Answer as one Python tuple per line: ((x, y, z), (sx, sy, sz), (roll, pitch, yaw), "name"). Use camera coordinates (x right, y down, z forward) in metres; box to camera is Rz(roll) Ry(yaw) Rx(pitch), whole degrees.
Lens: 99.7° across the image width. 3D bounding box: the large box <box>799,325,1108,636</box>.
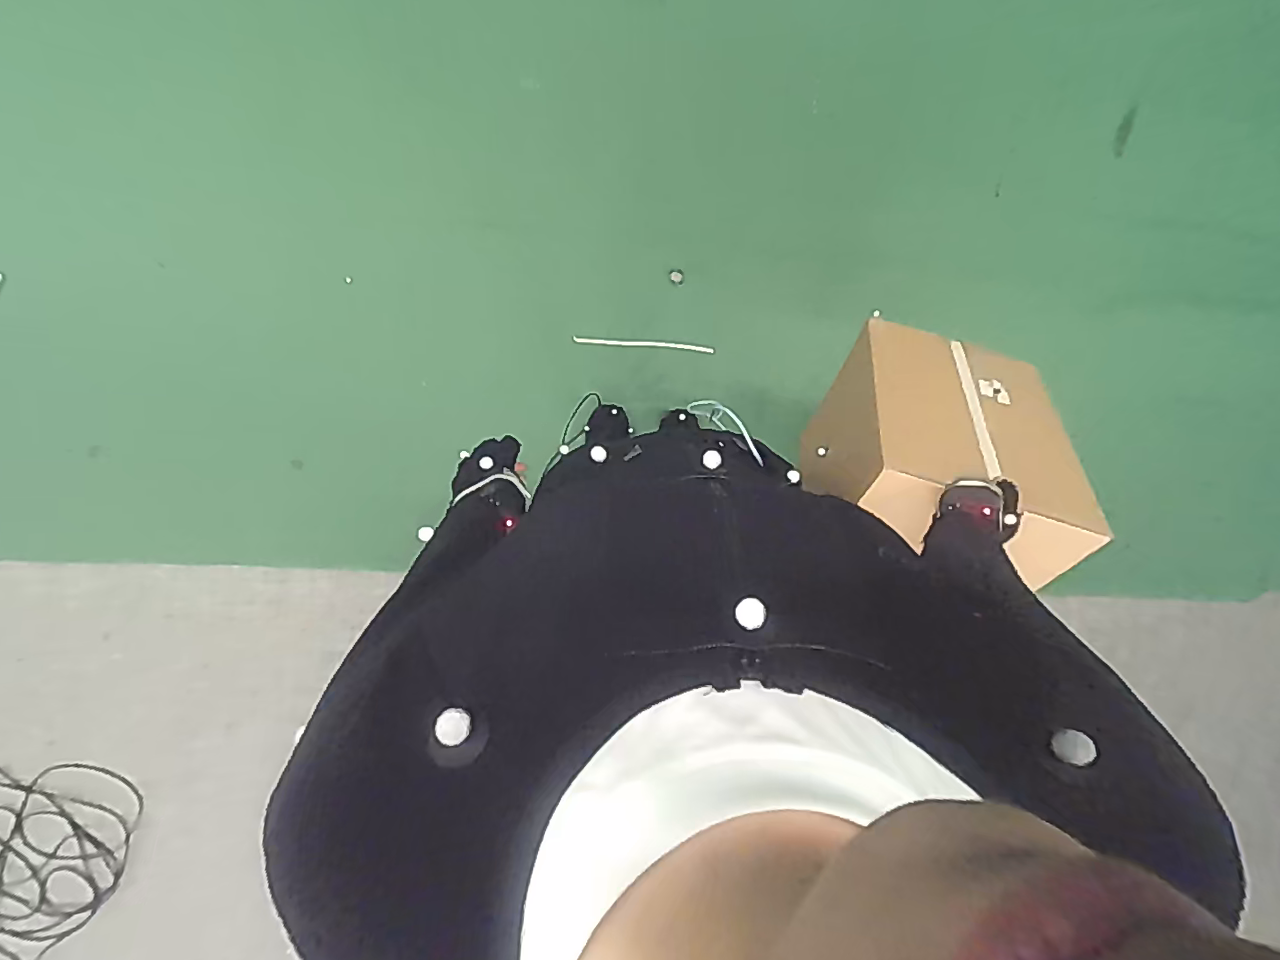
((0.486, -0.004, 0.952), (0.320, 0.408, 0.320), (18, 136, 1), "large box")
